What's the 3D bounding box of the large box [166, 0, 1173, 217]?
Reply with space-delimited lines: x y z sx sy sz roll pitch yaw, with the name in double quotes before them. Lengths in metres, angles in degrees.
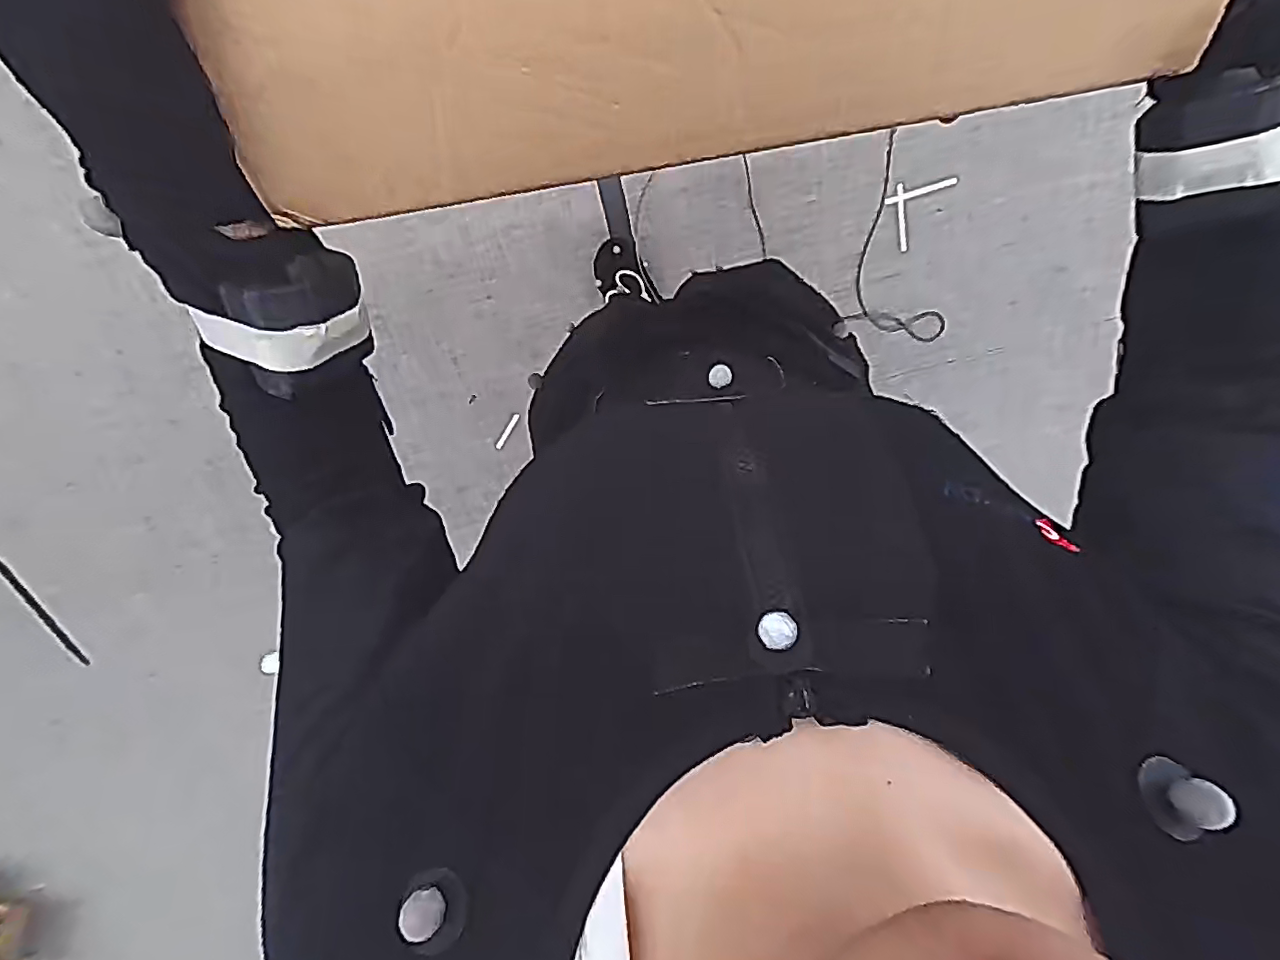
"large box" -0.001 -0.366 0.247 0.408 0.320 0.320 -9 133 2
